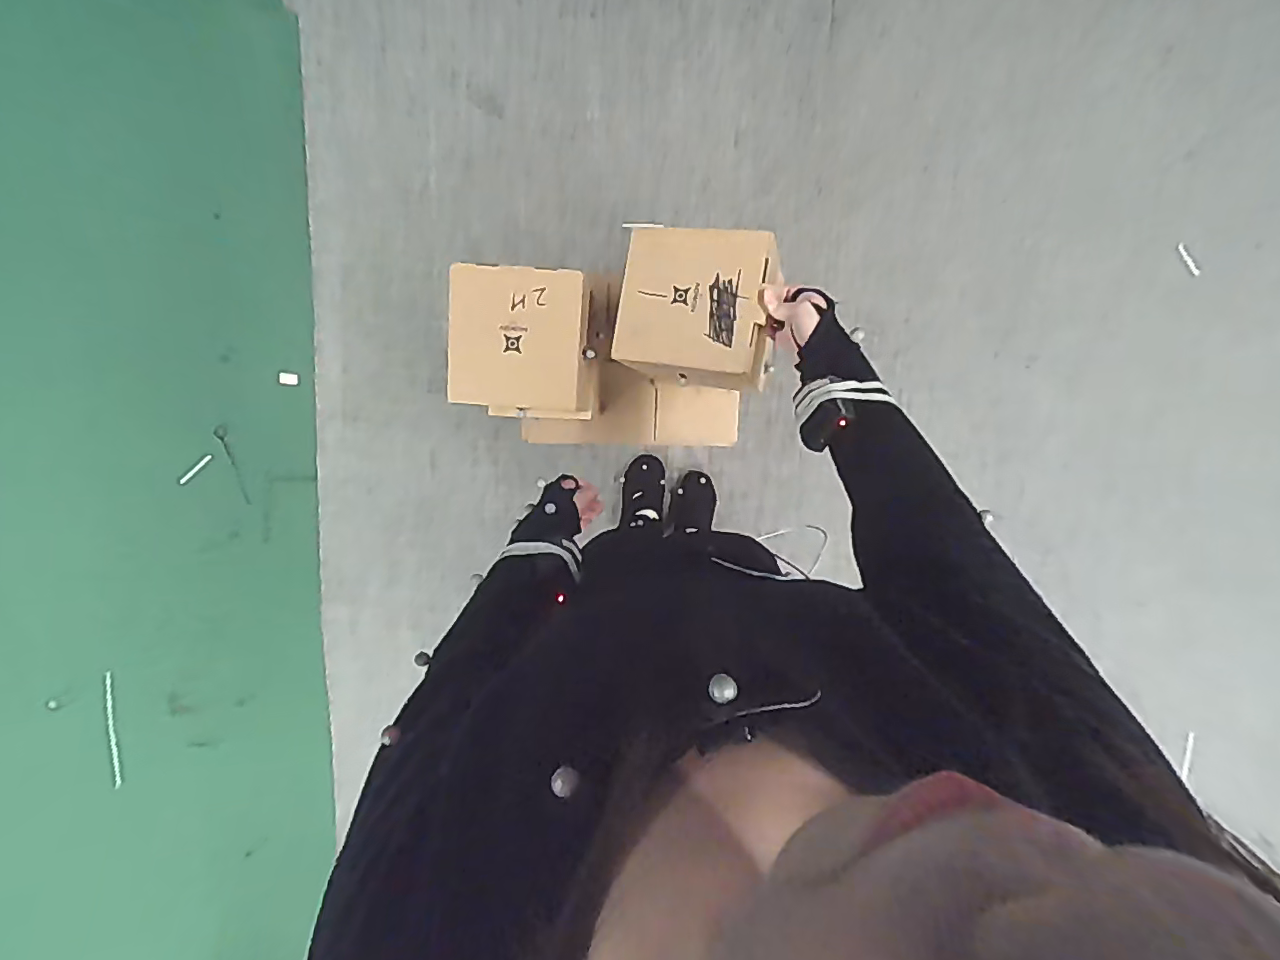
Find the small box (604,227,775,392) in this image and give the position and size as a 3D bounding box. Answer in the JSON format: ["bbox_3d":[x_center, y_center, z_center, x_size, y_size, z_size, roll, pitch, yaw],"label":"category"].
[{"bbox_3d":[0.076,-0.218,0.725,0.179,0.176,0.168,12,94,19],"label":"small box"}]

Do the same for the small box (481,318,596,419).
[{"bbox_3d":[-0.165,-0.197,0.919,0.168,0.176,0.179,3,97,-1],"label":"small box"}]

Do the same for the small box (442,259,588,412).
[{"bbox_3d":[-0.164,-0.190,0.754,0.168,0.176,0.179,5,97,-2],"label":"small box"}]
